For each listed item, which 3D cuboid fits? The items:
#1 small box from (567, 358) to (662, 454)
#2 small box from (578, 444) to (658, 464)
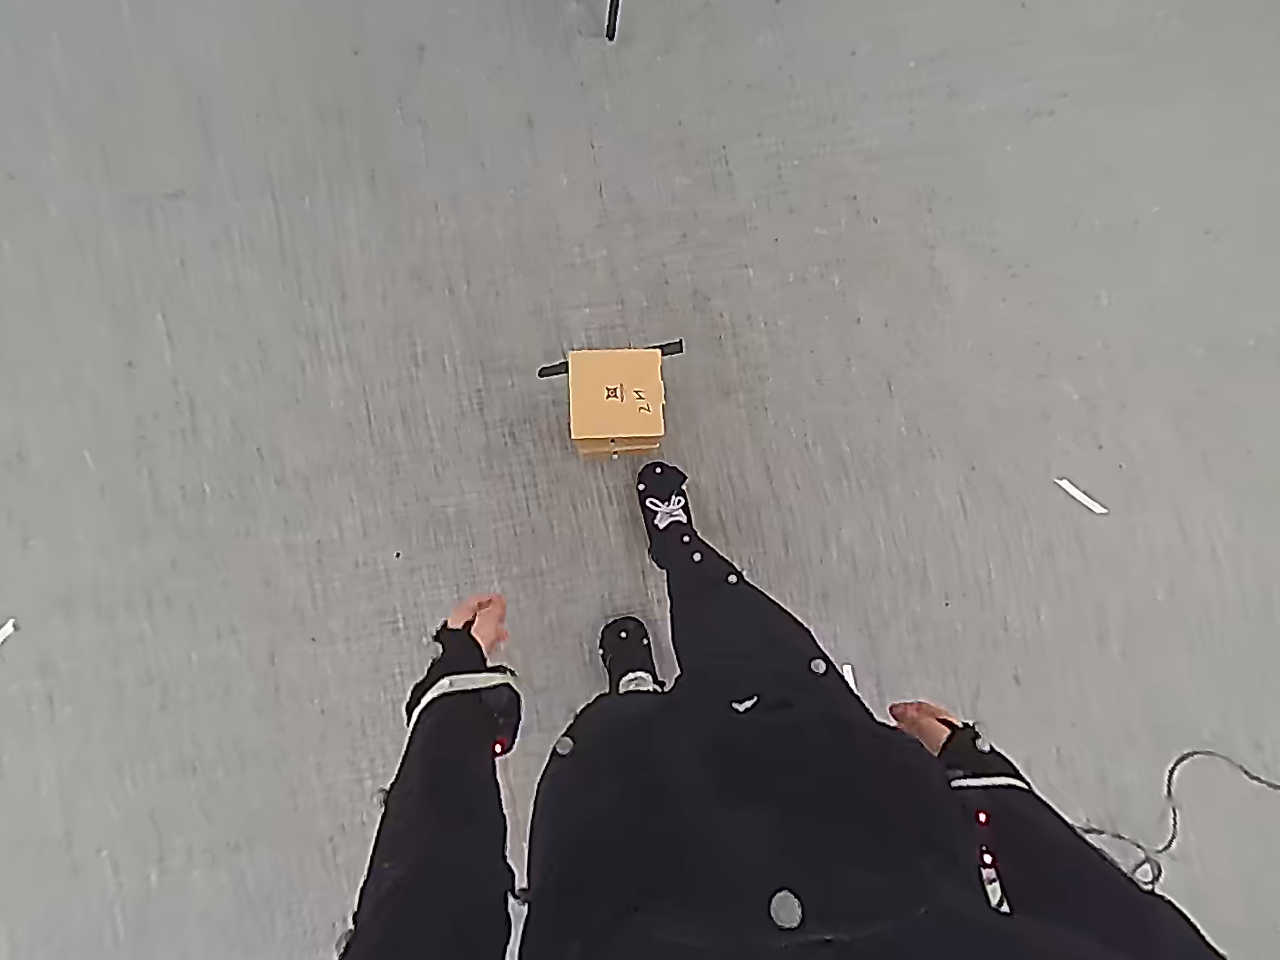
[{"bbox_3d":[-0.050,-0.143,1.085,0.179,0.176,0.168,-2,88,-3],"label":"small box"},{"bbox_3d":[-0.058,-0.127,1.249,0.179,0.176,0.168,-5,88,-4],"label":"small box"}]
